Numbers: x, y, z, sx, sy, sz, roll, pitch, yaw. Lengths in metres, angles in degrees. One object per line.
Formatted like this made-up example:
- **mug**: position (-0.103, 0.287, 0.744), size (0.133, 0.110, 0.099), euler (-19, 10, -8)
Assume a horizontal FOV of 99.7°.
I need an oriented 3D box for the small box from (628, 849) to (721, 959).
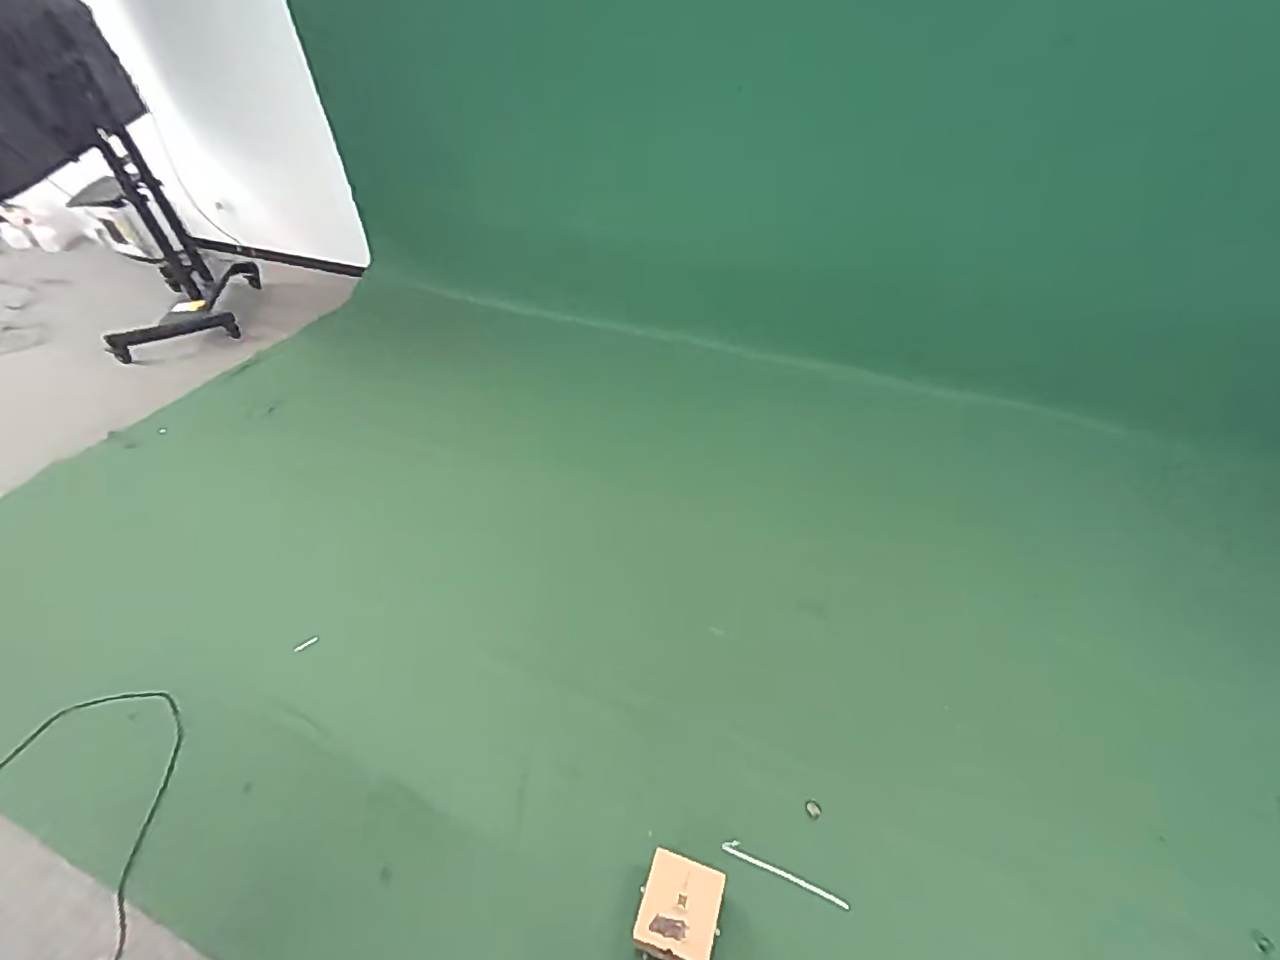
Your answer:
- **small box**: position (0.080, 0.989, 1.232), size (0.168, 0.176, 0.179), euler (14, 45, 14)
